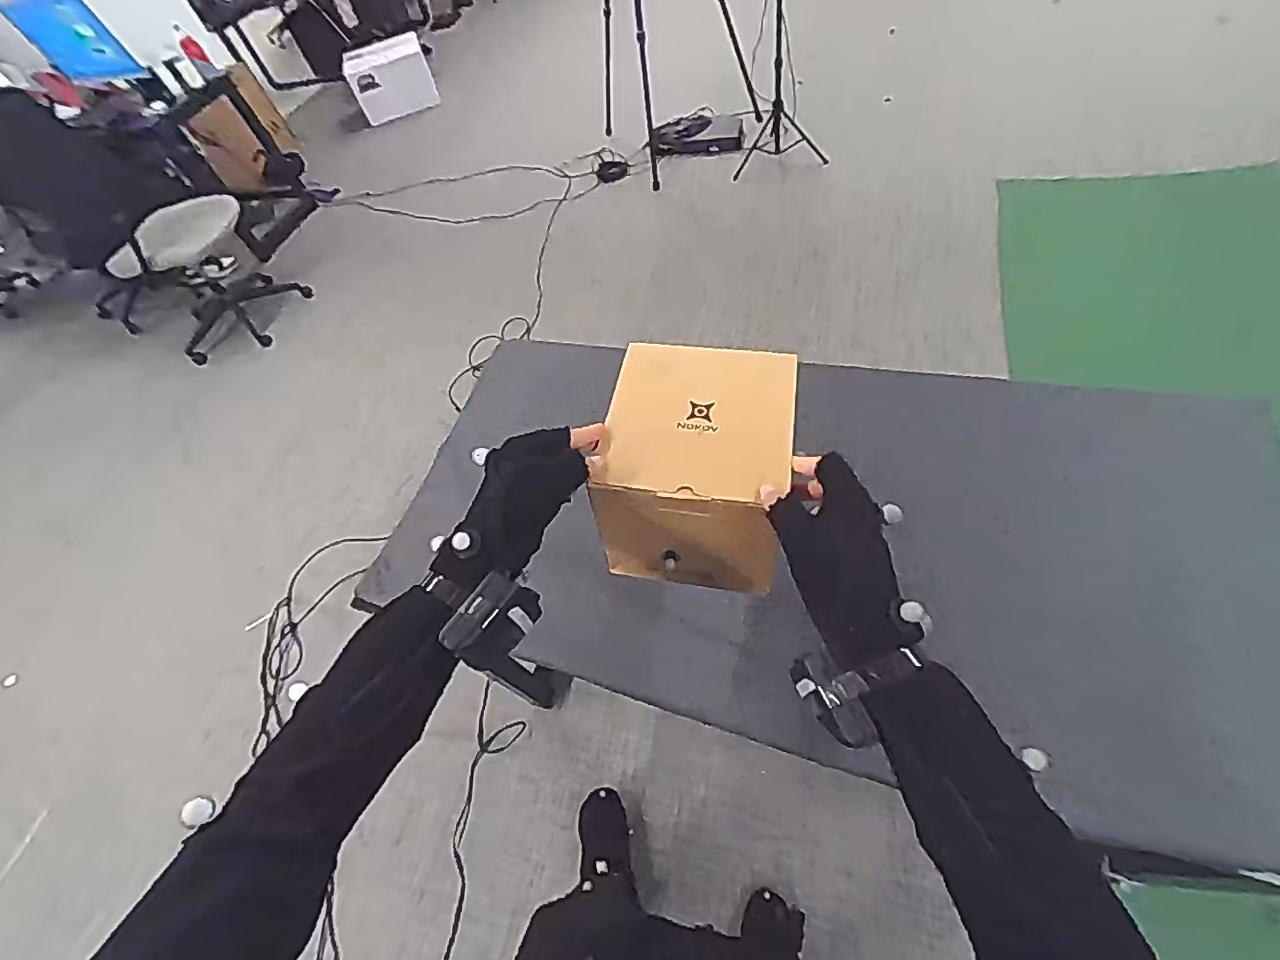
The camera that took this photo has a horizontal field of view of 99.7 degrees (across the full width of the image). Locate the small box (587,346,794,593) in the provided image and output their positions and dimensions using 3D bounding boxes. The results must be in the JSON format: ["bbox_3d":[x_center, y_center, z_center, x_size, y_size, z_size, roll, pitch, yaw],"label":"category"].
[{"bbox_3d":[0.056,-0.008,0.547,0.168,0.176,0.179,7,57,10],"label":"small box"}]
